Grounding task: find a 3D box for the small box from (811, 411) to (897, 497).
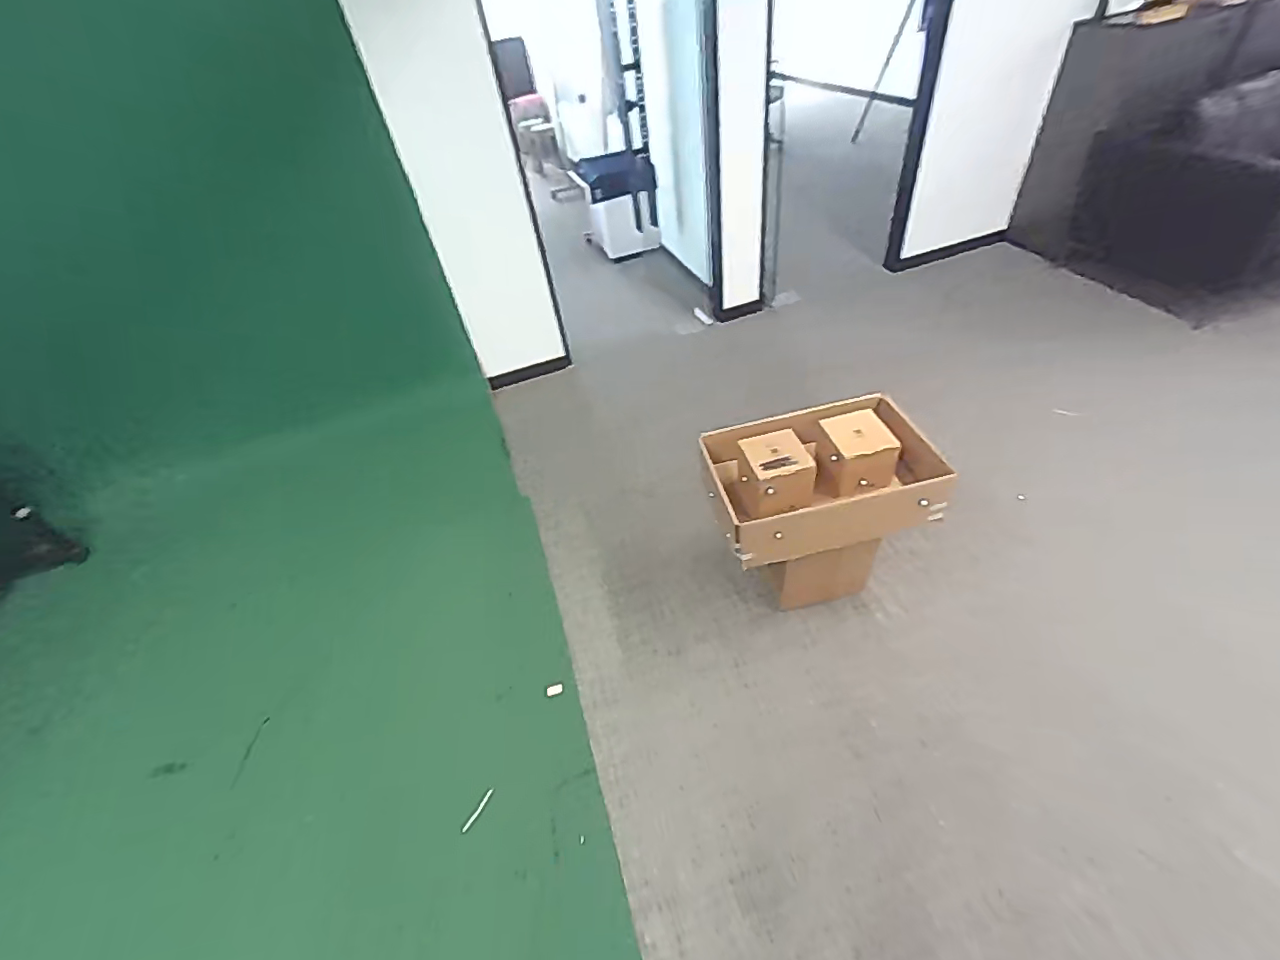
[{"bbox_3d":[0.624,-0.076,1.604,0.168,0.176,0.179,-13,46,-4],"label":"small box"}]
